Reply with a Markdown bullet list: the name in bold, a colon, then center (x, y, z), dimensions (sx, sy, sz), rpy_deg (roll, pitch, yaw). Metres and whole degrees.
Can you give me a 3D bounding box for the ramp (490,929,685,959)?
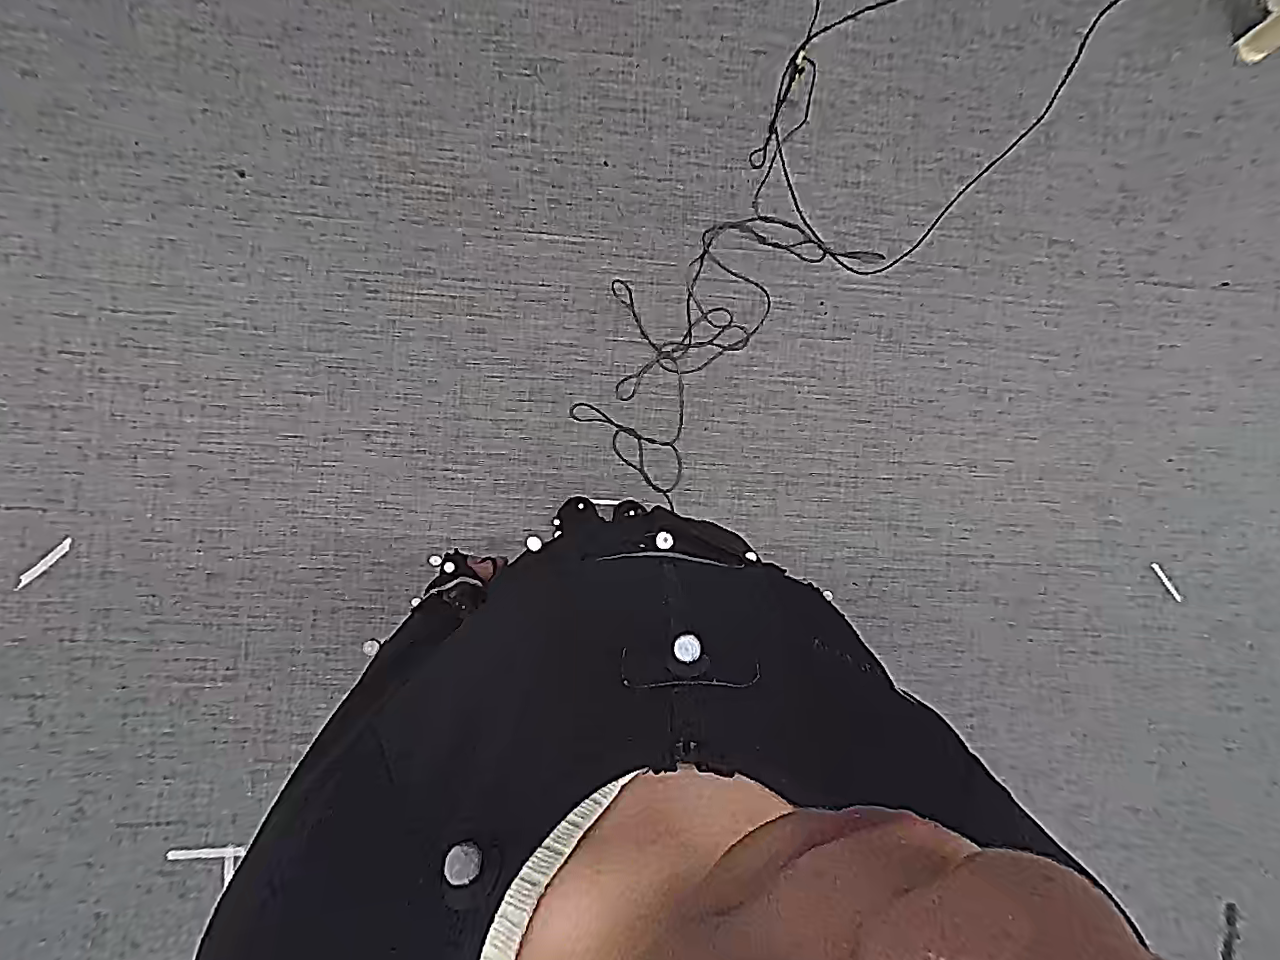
- **ramp**: center (-0.136, 1.621, 1.249), dimensions (0.509, 0.206, 0.991), rpy_deg (0, 87, -3)
